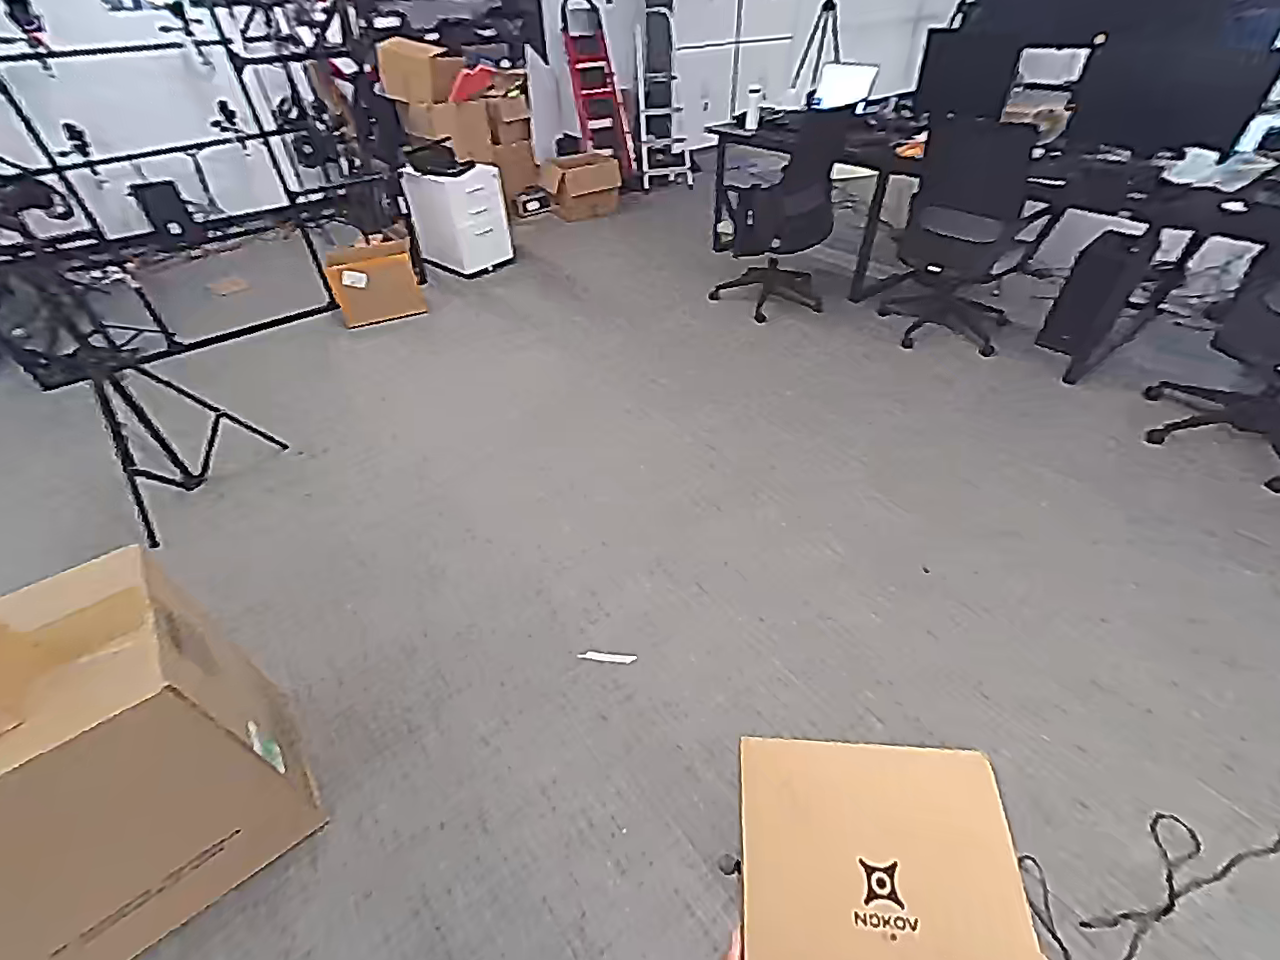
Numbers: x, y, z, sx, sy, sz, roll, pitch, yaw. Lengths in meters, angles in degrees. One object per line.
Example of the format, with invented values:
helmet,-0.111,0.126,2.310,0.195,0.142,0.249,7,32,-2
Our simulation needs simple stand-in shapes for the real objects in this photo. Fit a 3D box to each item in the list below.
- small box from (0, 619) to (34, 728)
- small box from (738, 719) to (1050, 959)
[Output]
small box,-1.010,0.278,0.750,0.168,0.176,0.179,-28,47,-26
small box,0.156,0.289,0.387,0.168,0.176,0.179,-1,54,10
